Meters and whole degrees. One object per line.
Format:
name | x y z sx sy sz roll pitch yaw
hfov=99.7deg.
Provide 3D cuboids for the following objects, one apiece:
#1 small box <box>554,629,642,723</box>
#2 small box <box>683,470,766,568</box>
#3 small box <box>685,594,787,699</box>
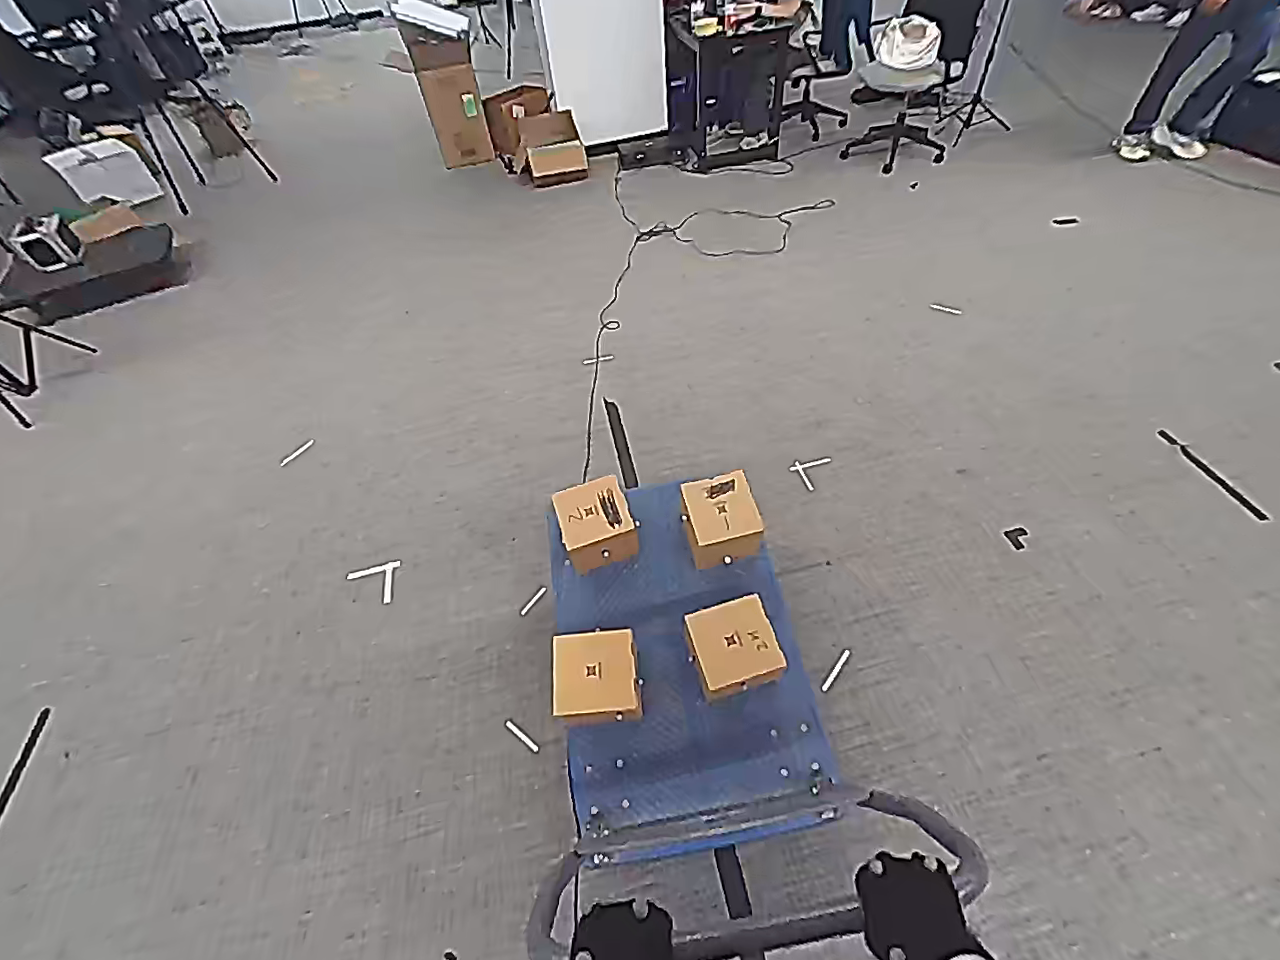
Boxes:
small box | -0.091 0.446 1.219 0.179 0.176 0.168 -5 60 0
small box | 0.207 0.103 1.384 0.168 0.176 0.179 -14 62 -3
small box | 0.211 0.384 1.227 0.179 0.176 0.168 -16 61 -4
